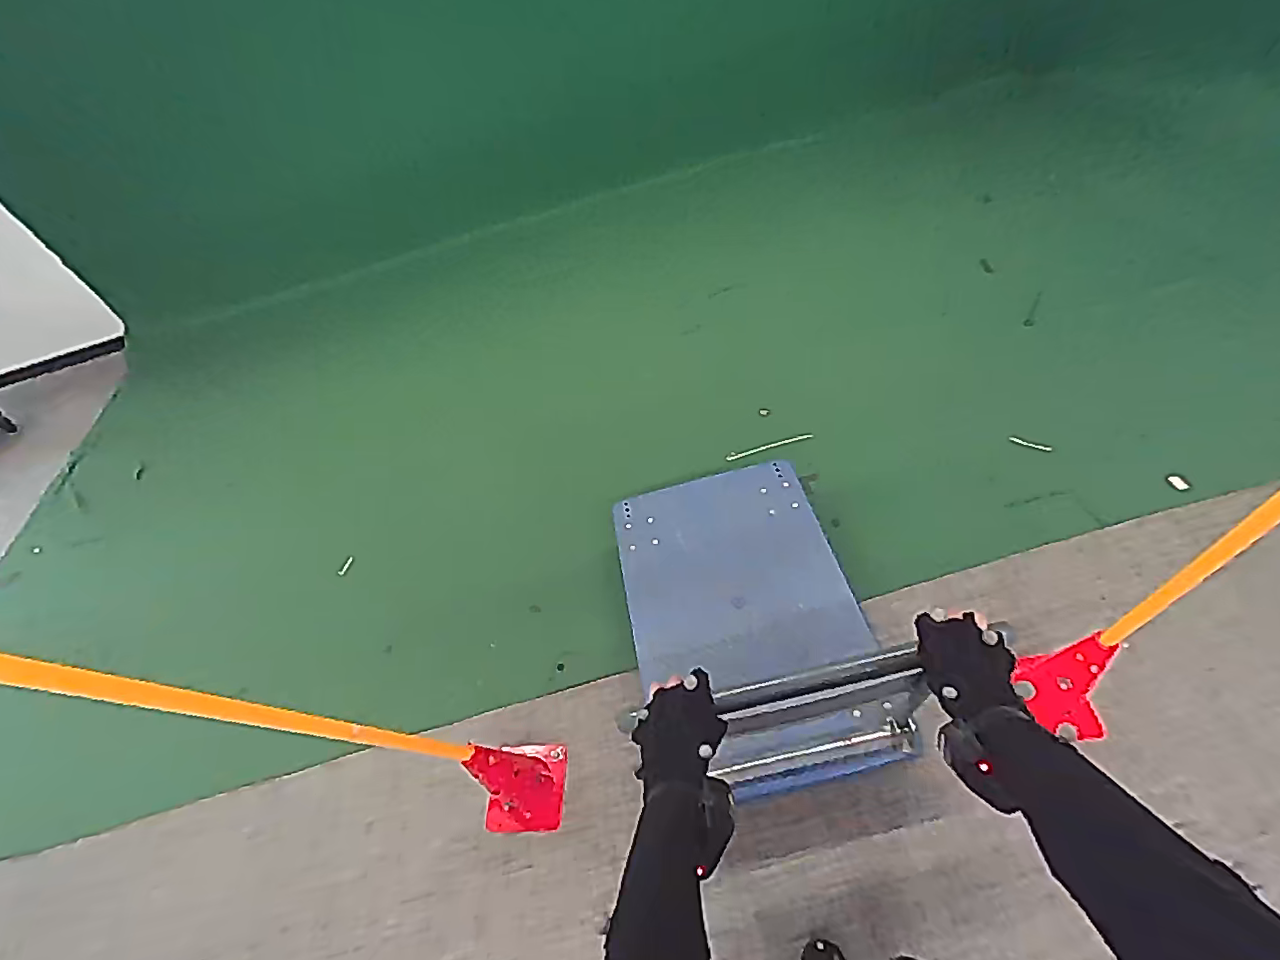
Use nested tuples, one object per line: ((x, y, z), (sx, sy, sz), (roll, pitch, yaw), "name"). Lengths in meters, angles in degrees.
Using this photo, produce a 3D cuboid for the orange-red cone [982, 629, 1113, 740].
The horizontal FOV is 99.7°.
((0.926, 0.413, 1.173), (0.198, 0.360, 0.199), (-8, 51, 8), "orange-red cone")
